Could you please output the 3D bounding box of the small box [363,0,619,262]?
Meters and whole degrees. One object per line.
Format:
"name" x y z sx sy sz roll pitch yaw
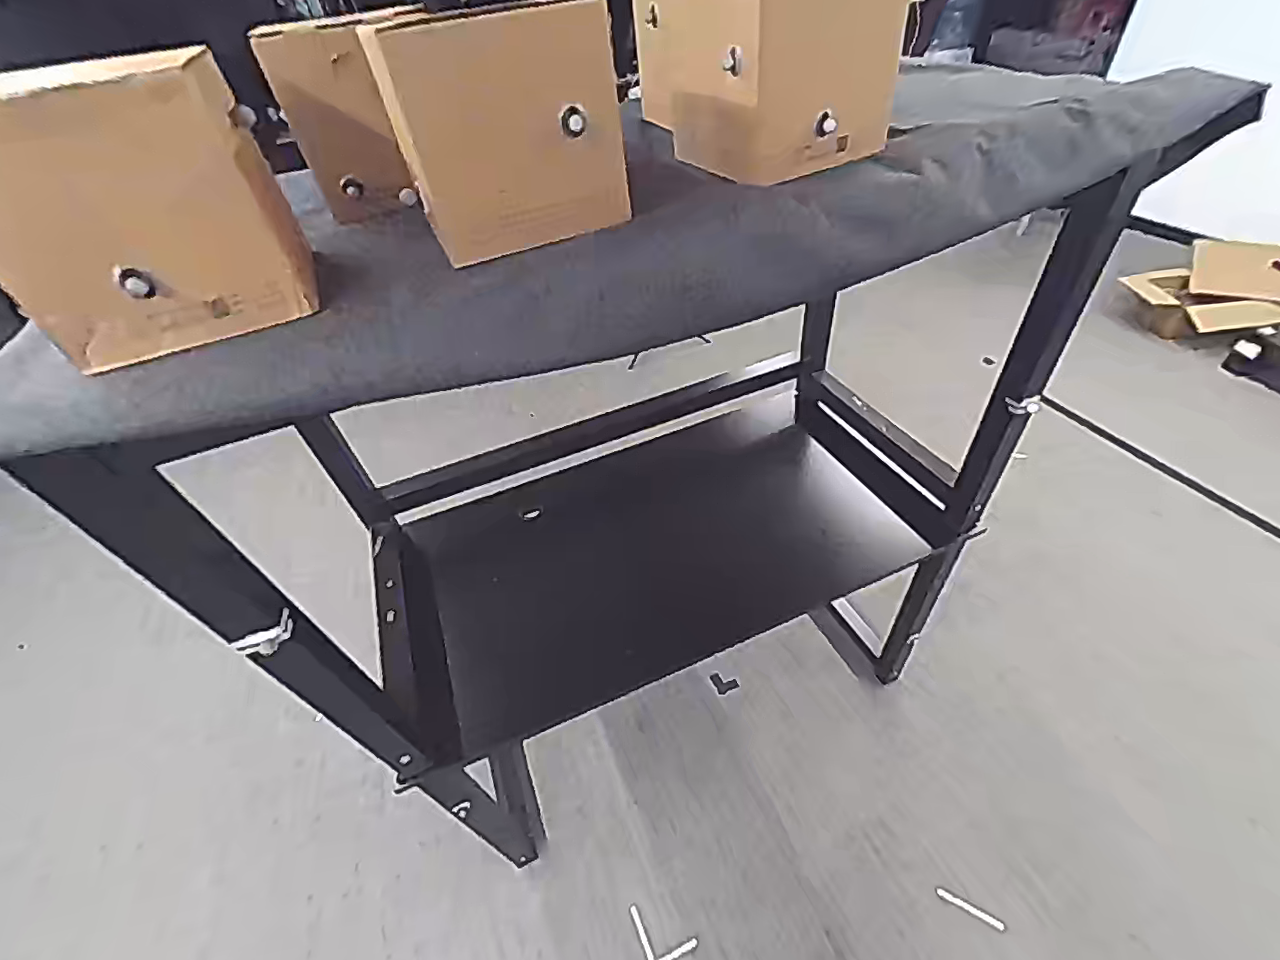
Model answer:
"small box" -0.127 -0.323 0.497 0.179 0.176 0.168 -21 43 -15

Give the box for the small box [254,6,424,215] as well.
"small box" -0.307 -0.426 0.631 0.168 0.176 0.179 -20 45 -12

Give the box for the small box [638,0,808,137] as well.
"small box" 0.103 -0.581 0.727 0.168 0.176 0.179 -20 45 -11

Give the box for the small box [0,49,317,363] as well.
"small box" -0.380 -0.218 0.425 0.168 0.176 0.179 -23 46 -15
